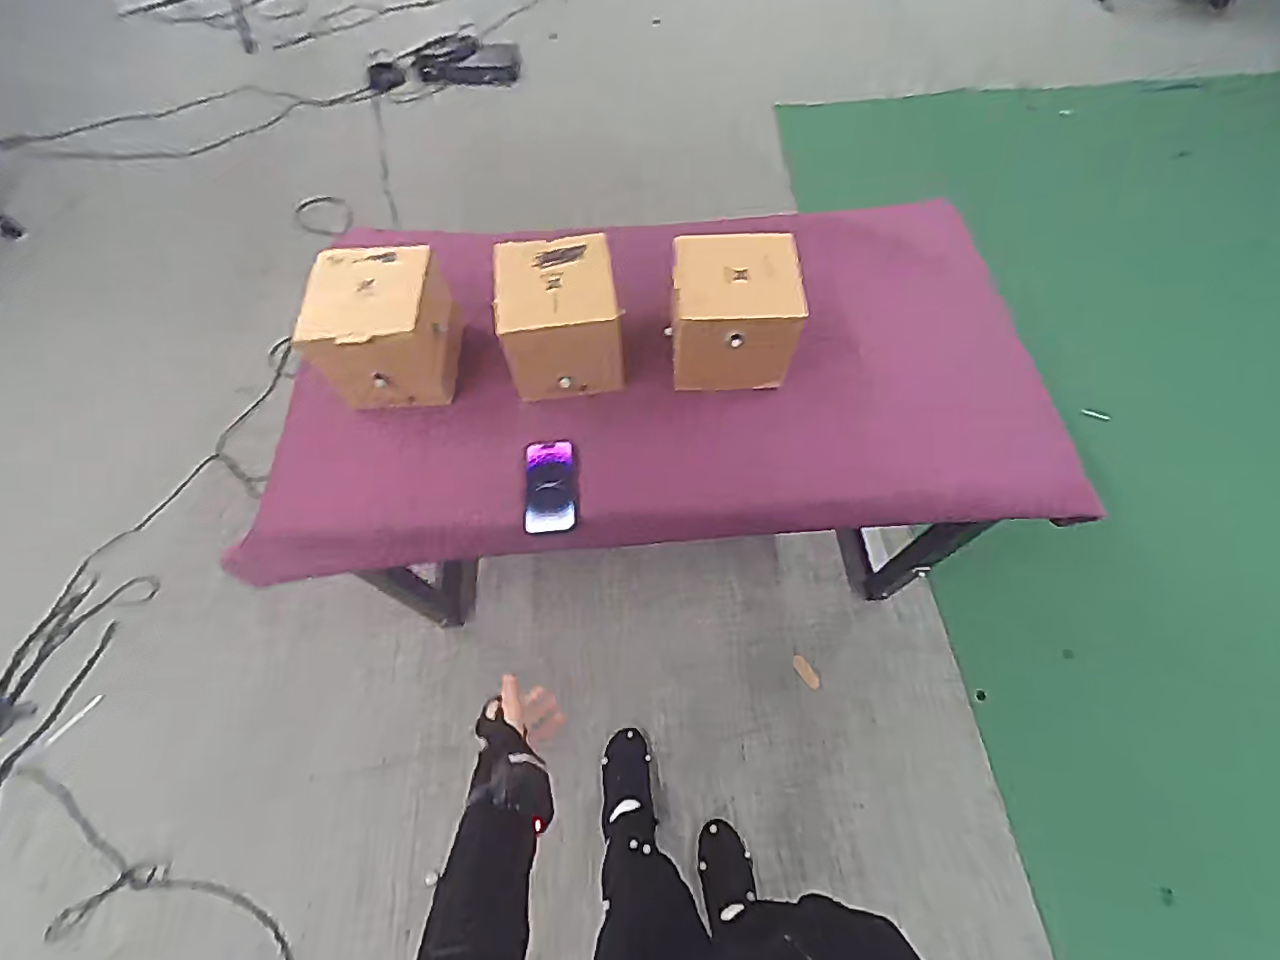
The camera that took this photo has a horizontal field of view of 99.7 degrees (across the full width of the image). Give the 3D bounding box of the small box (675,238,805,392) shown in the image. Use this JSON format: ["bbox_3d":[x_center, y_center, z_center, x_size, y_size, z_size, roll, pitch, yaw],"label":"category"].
[{"bbox_3d":[0.144,-0.250,0.843,0.179,0.176,0.168,0,63,2],"label":"small box"}]

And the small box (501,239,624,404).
[{"bbox_3d":[-0.116,-0.243,0.847,0.168,0.176,0.179,-7,63,-2],"label":"small box"}]

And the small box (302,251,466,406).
[{"bbox_3d":[-0.384,-0.227,0.847,0.168,0.176,0.179,-2,63,0],"label":"small box"}]
